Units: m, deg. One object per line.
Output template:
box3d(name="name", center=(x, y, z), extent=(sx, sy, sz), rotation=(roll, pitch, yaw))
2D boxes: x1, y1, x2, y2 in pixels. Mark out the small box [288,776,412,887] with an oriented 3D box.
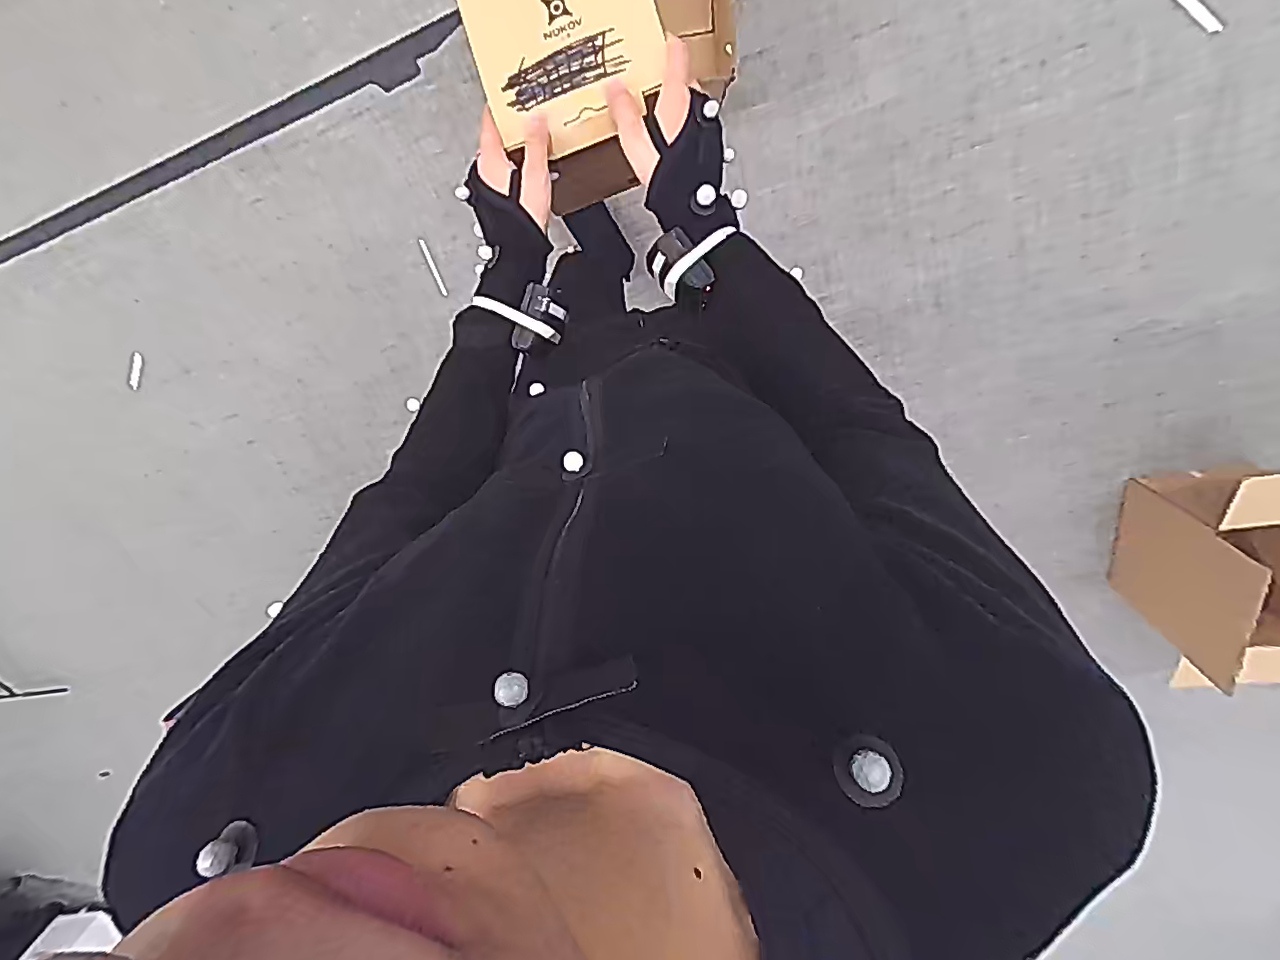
box3d(name="small box", center=(-0.703, 0.862, 1.332), extent=(0.179, 0.176, 0.168), rotation=(-13, 116, 12))
